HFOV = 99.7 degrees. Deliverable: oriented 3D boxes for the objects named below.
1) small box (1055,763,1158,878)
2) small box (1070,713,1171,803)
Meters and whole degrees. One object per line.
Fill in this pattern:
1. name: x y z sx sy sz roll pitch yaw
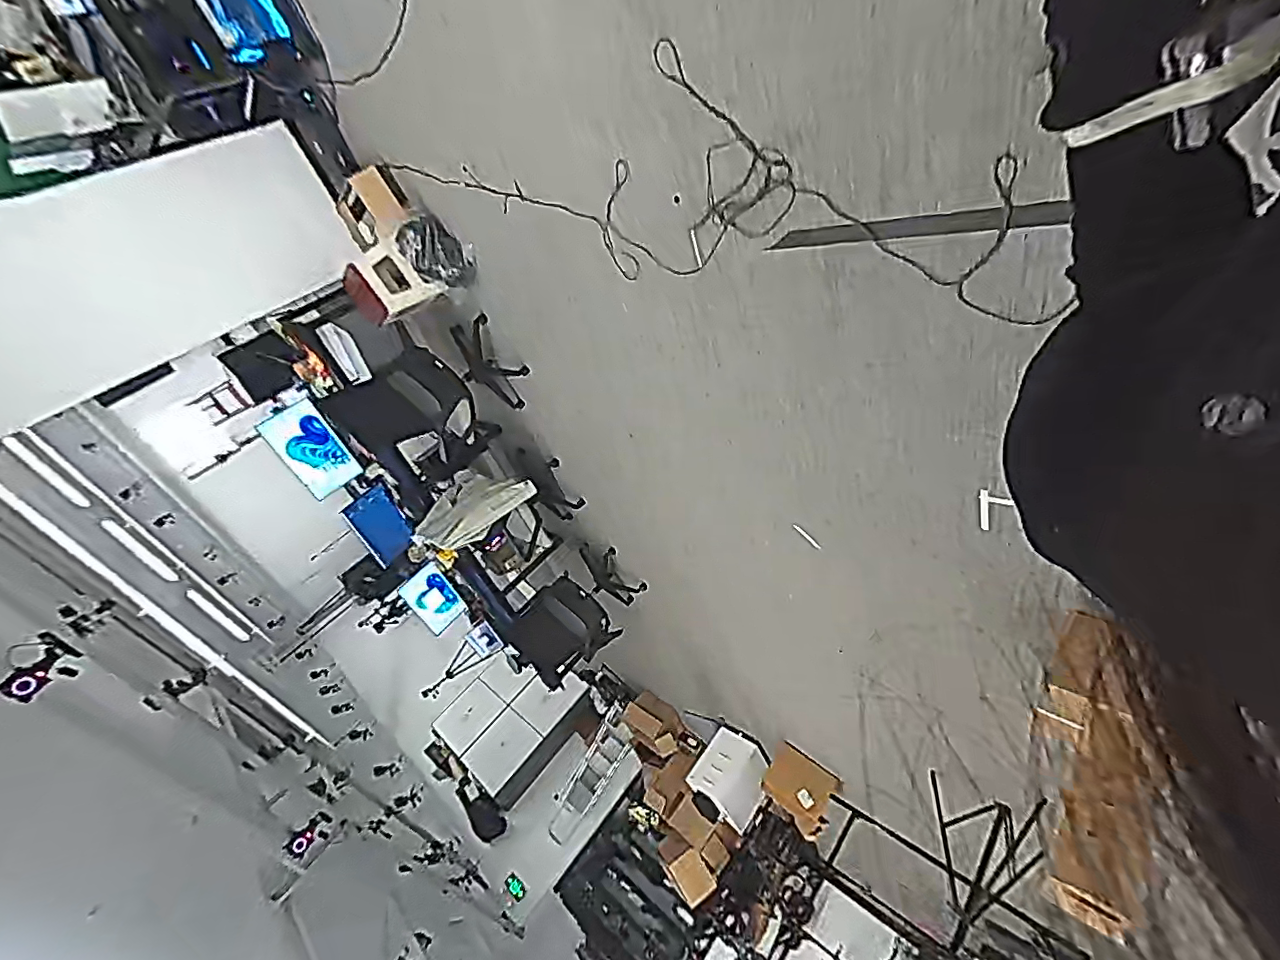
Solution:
1. small box: 1.245 0.900 1.444 0.168 0.176 0.179 19 141 41
2. small box: 1.347 0.793 1.515 0.168 0.176 0.179 21 143 39
